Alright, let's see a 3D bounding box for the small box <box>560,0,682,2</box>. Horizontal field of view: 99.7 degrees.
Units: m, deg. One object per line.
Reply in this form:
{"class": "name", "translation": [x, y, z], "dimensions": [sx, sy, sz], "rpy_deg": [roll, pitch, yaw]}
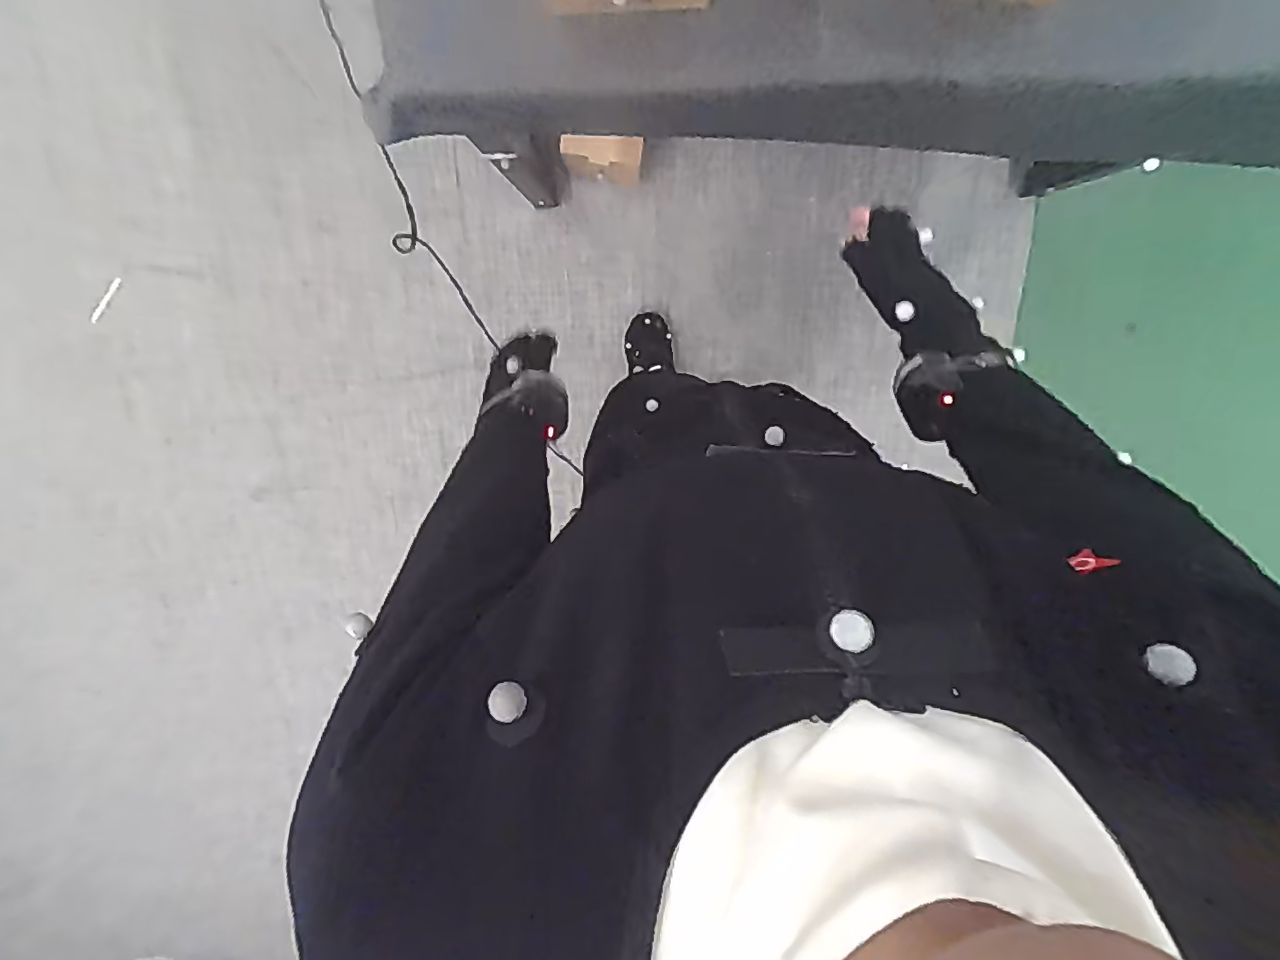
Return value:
{"class": "small box", "translation": [-0.014, -0.539, 0.437], "dimensions": [0.168, 0.176, 0.179], "rpy_deg": [-3, 107, 0]}
